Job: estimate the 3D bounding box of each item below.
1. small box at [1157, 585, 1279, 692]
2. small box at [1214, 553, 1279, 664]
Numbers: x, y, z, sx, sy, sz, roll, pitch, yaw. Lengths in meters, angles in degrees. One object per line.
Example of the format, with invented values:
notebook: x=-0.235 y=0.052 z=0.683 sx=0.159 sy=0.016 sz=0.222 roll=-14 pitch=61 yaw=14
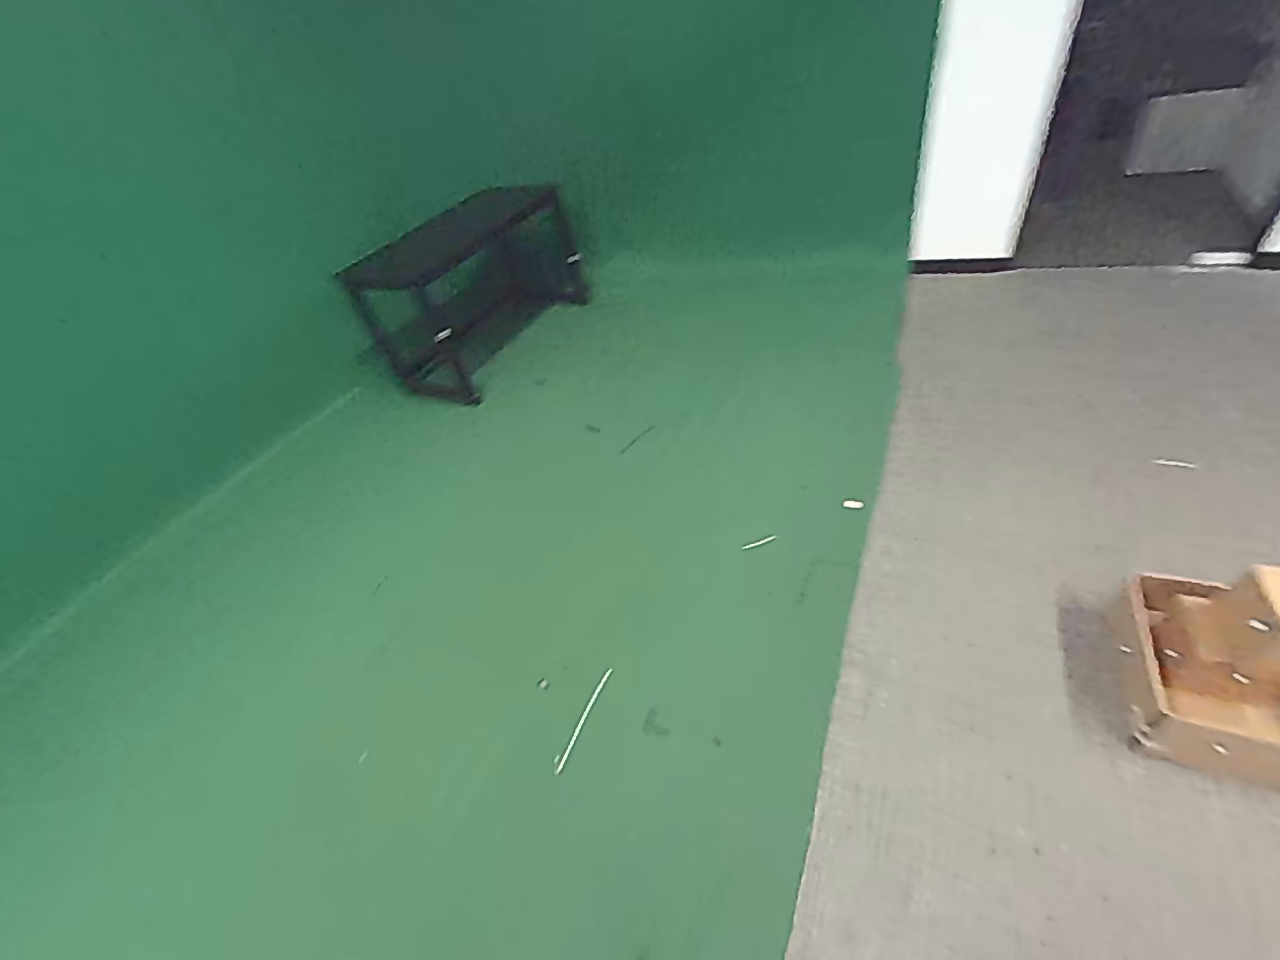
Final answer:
small box: x=1.359 y=0.371 z=1.259 sx=0.179 sy=0.176 sz=0.168 roll=6 pitch=49 yaw=21
small box: x=1.363 y=0.276 z=1.117 sx=0.168 sy=0.176 sz=0.179 roll=5 pitch=48 yaw=19
